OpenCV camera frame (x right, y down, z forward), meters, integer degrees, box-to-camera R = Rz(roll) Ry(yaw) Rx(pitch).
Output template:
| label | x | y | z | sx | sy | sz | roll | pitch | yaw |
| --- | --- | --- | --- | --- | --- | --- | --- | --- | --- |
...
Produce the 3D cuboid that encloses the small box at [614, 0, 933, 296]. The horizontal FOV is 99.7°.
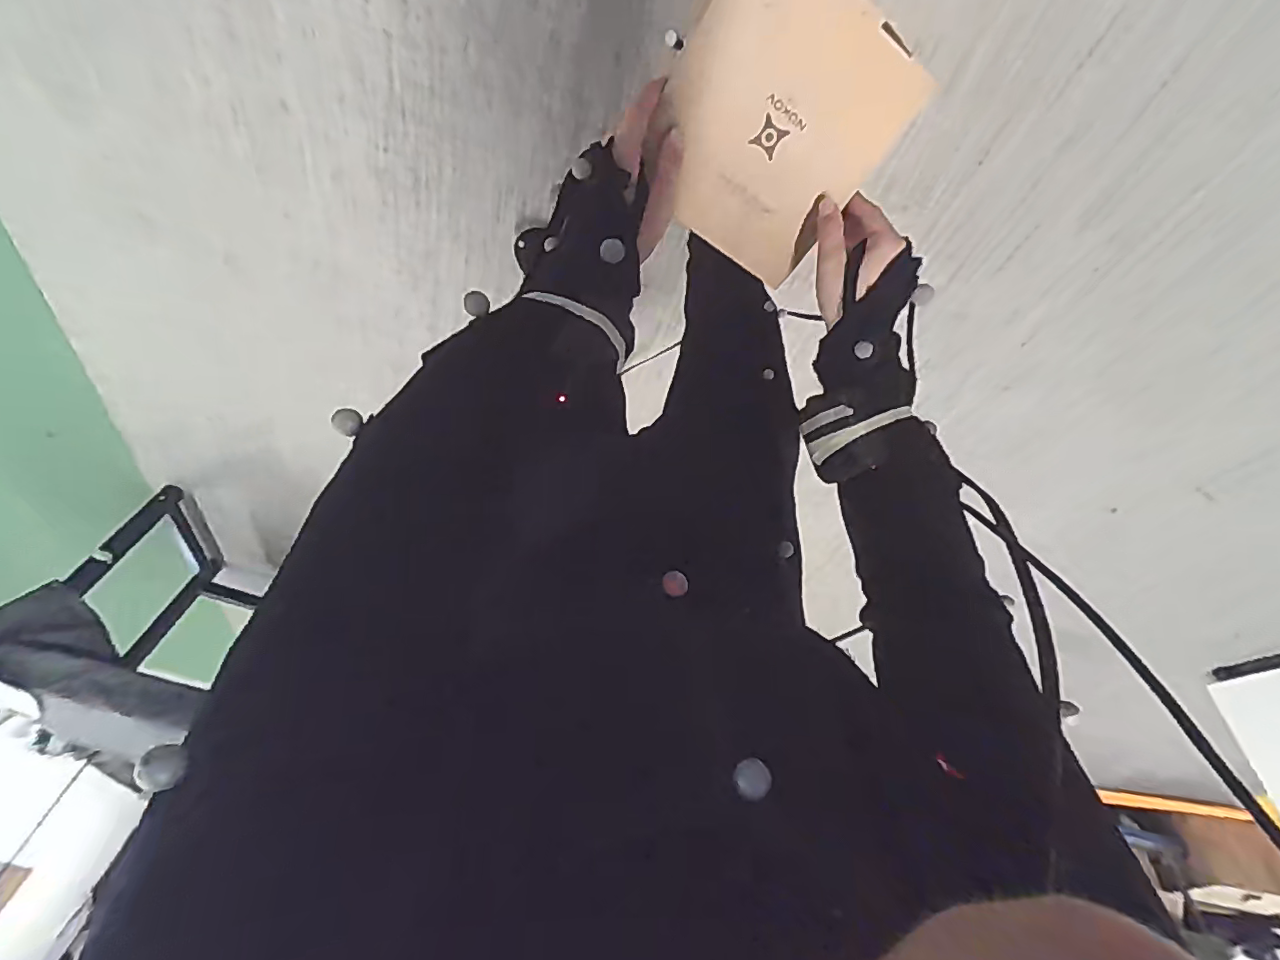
| label | x | y | z | sx | sy | sz | roll | pitch | yaw |
| --- | --- | --- | --- | --- | --- | --- | --- | --- | --- |
| small box | 0.089 | -0.296 | 0.452 | 0.168 | 0.176 | 0.179 | 26 | 124 | -20 |
